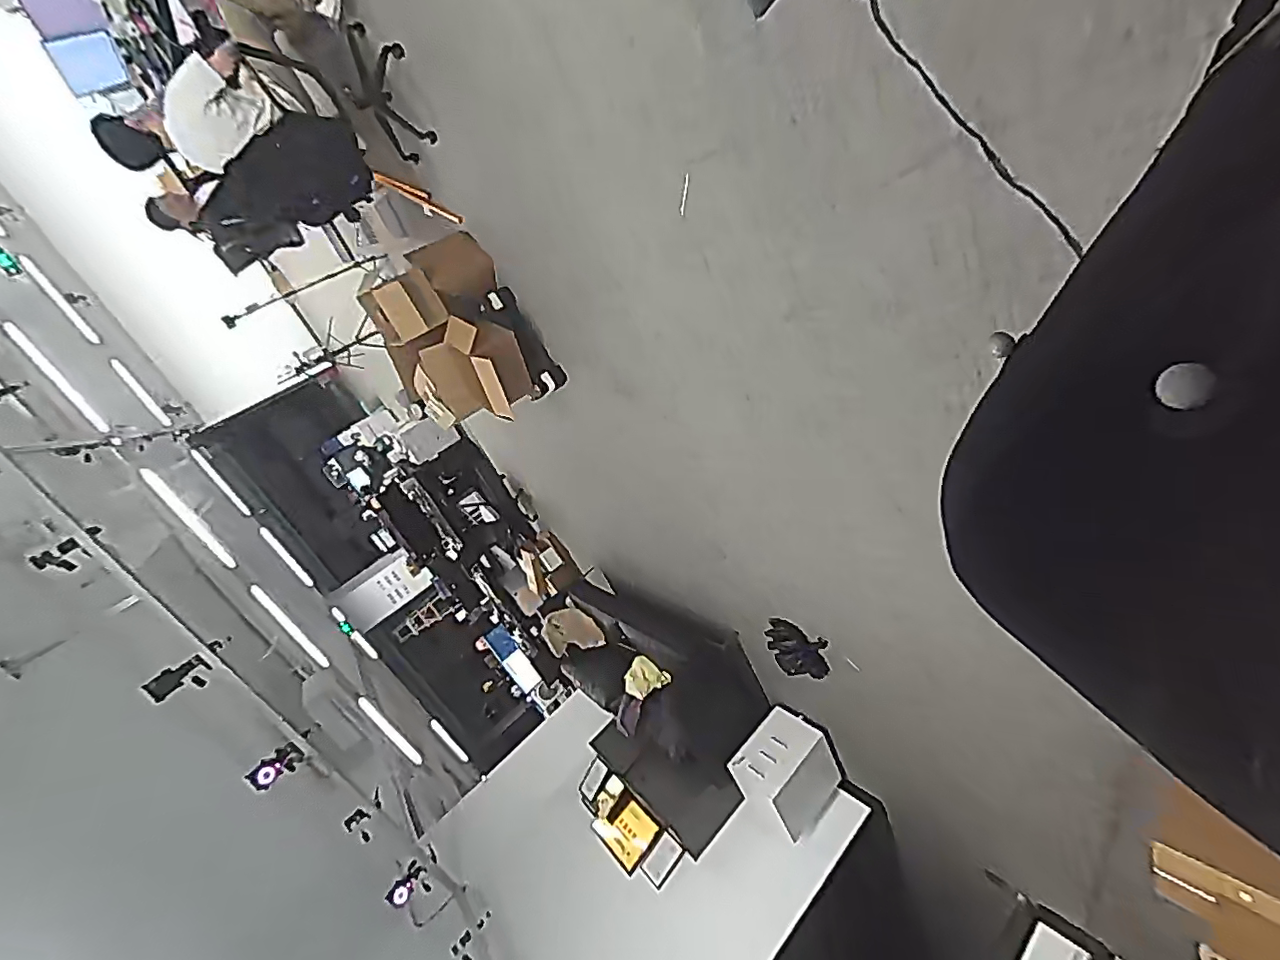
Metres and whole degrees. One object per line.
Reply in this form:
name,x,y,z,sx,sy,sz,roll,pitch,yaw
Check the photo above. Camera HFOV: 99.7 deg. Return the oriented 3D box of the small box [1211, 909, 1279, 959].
small box,1.634,1.275,1.410,0.179,0.176,0.168,17,134,52
